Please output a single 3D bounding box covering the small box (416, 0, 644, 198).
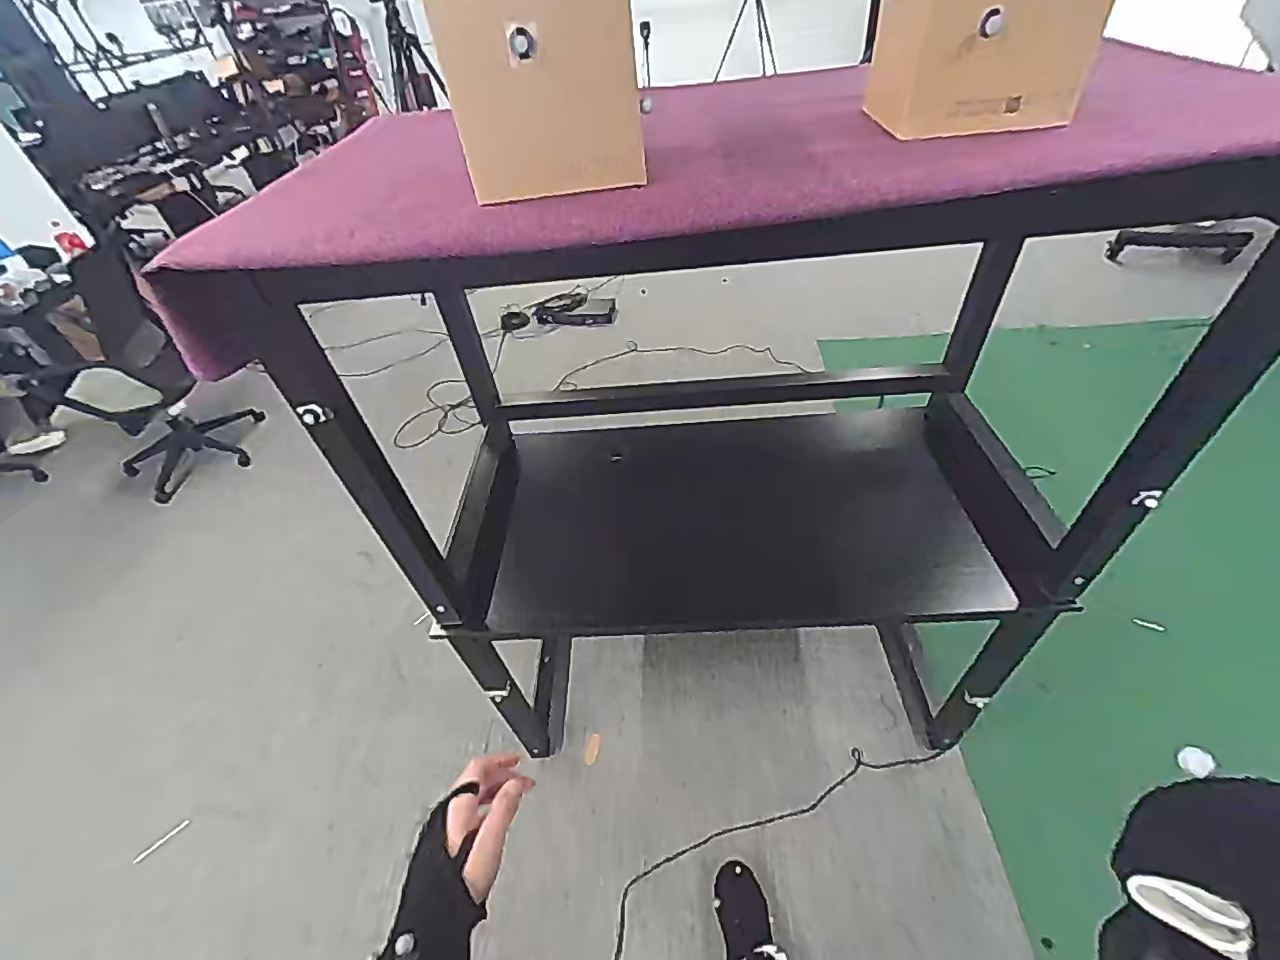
[{"bbox_3d":[-0.095,-0.402,0.549,0.179,0.176,0.168,-6,44,2],"label":"small box"}]

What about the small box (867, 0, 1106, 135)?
[{"bbox_3d":[0.349,-0.472,0.560,0.168,0.176,0.179,-2,43,7],"label":"small box"}]
